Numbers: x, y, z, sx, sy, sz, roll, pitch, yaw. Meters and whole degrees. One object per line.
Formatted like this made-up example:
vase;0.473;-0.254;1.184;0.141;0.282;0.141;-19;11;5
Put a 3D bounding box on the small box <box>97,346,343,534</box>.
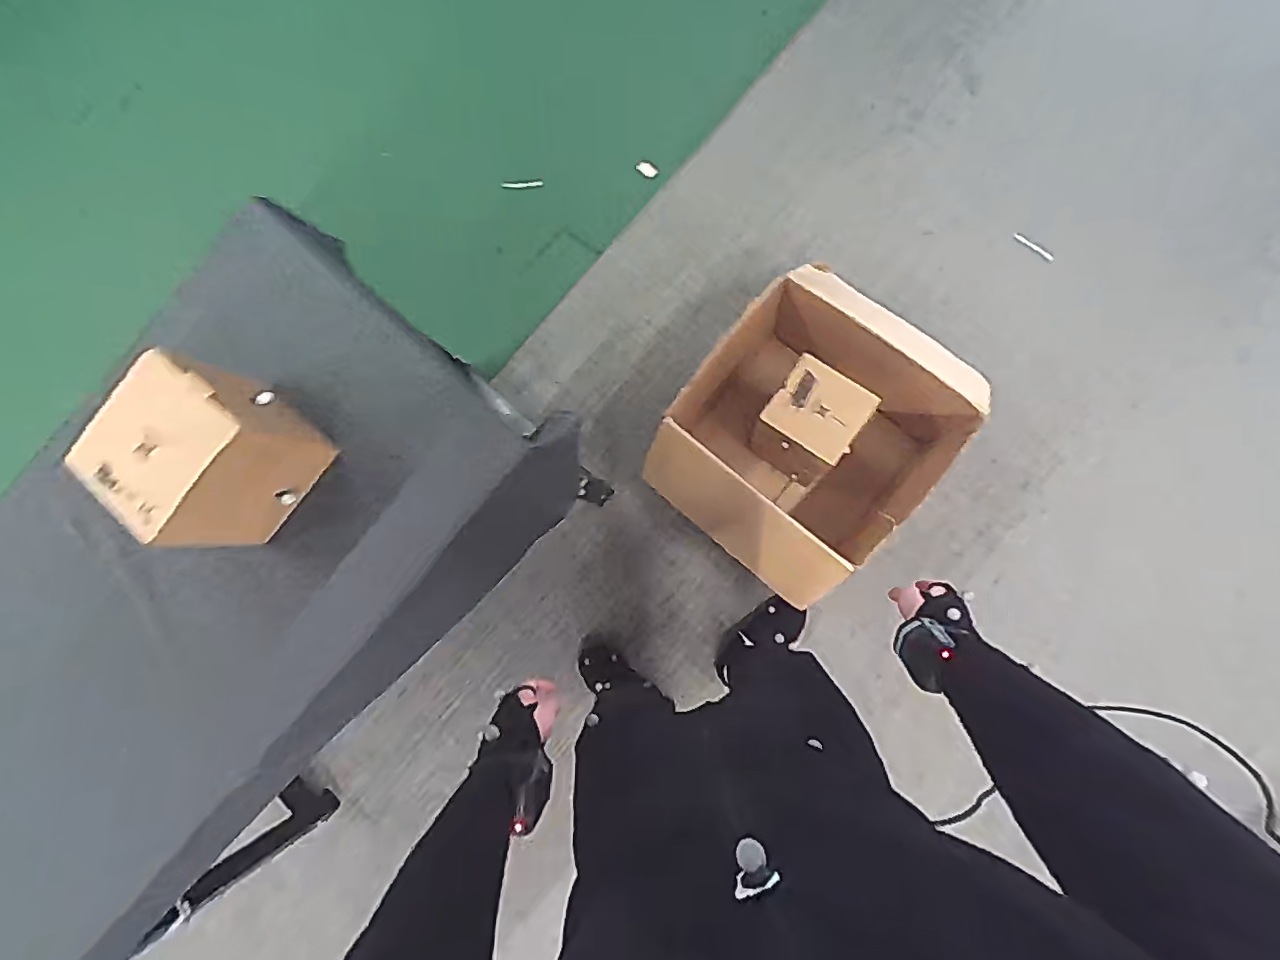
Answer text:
small box;-0.547;-0.044;0.735;0.168;0.176;0.179;36;90;9
